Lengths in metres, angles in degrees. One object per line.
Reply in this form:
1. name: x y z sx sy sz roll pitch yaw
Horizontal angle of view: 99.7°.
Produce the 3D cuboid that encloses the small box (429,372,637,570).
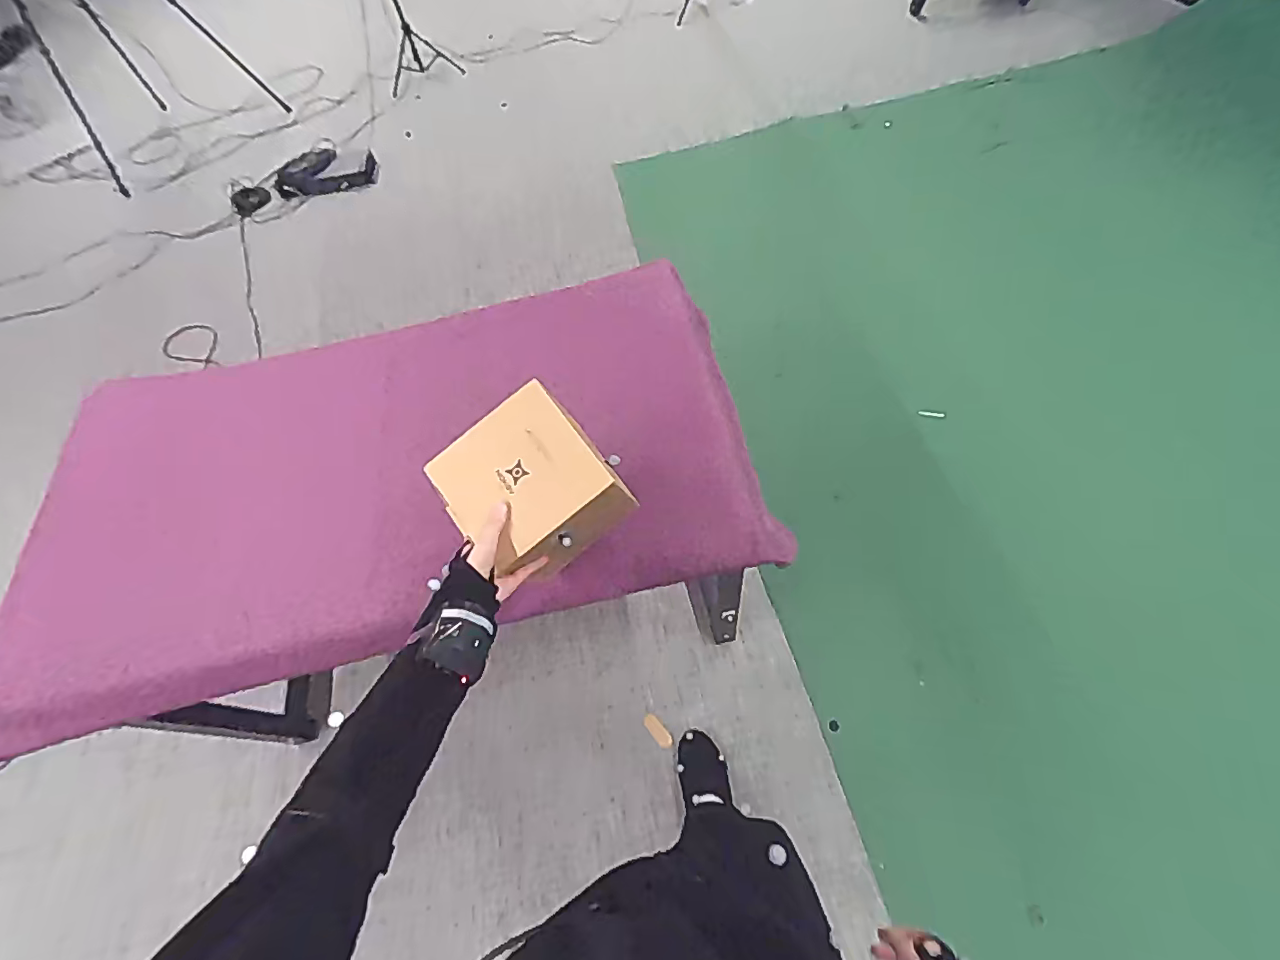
1. small box: -0.125 0.001 0.697 0.179 0.176 0.168 -37 73 0
